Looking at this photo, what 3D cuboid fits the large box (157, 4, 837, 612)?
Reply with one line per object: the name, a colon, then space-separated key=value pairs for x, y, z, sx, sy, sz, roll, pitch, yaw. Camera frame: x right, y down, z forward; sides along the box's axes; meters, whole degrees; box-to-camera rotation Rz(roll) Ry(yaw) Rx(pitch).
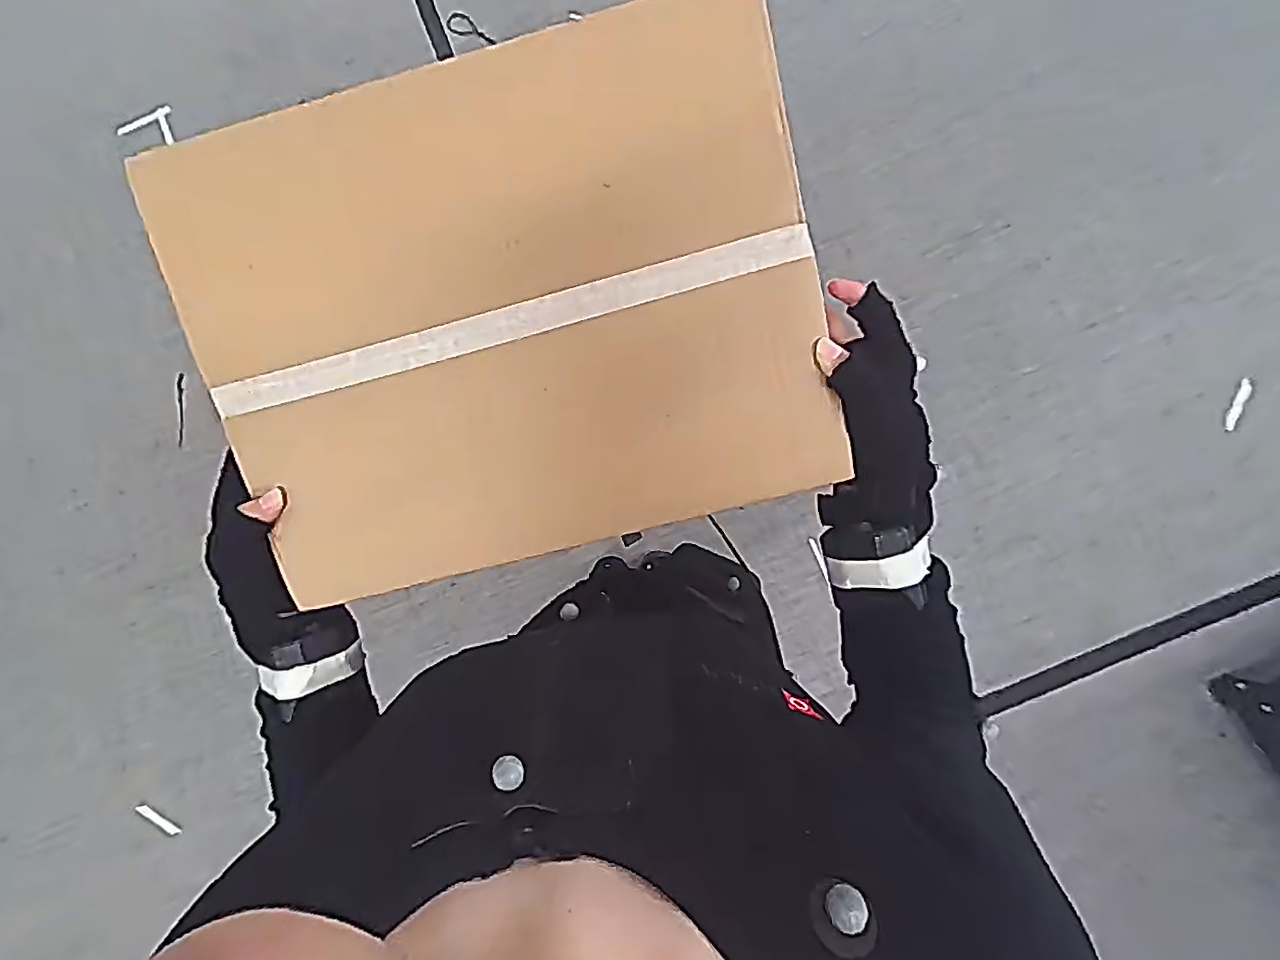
large box: x=-0.085 y=-0.123 z=0.512 sx=0.408 sy=0.320 sz=0.320 roll=-14 pitch=99 yaw=4
